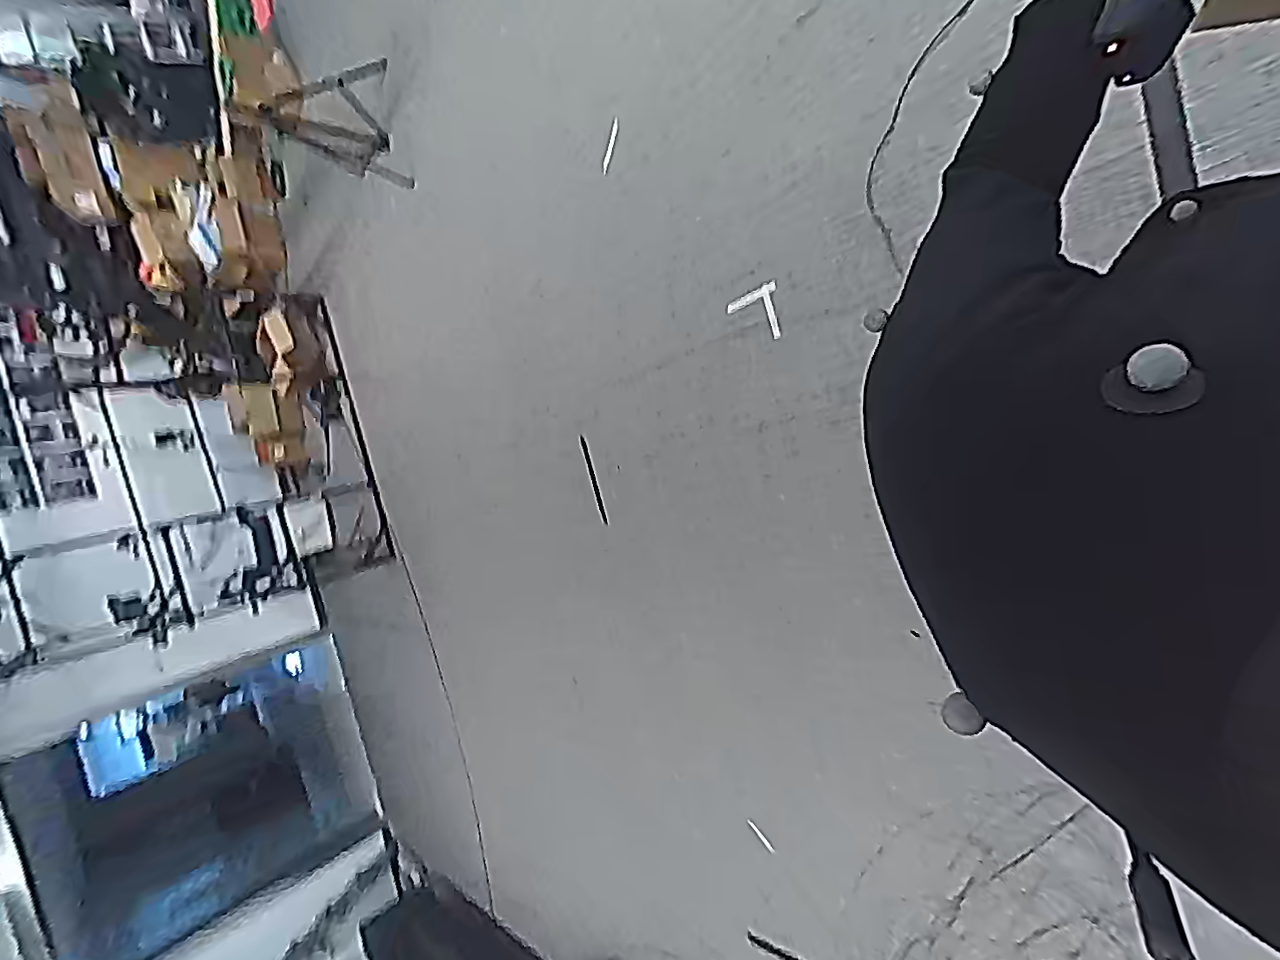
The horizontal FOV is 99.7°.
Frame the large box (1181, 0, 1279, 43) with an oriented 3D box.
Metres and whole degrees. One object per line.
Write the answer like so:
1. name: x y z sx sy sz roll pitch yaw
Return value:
1. large box: 0.591 -0.481 0.269 0.408 0.320 0.320 18 124 38
